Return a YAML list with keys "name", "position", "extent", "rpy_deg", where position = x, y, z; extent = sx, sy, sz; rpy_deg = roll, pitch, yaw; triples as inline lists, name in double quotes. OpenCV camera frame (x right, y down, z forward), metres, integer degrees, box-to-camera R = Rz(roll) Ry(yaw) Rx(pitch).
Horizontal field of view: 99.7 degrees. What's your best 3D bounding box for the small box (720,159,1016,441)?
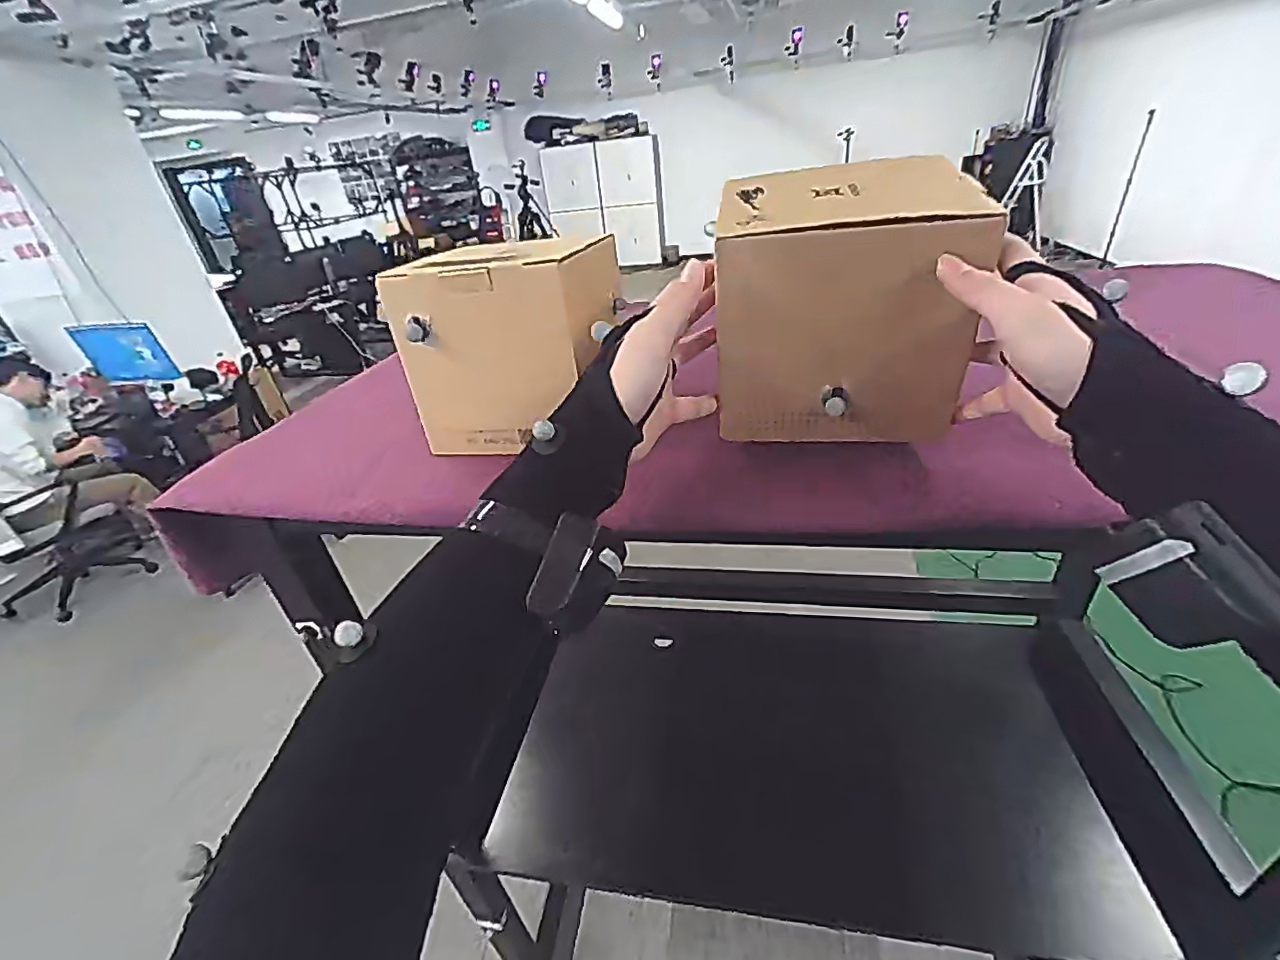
- name: "small box"
  position: [0.160, -0.143, 0.442]
  extent: [0.179, 0.176, 0.168]
  rpy_deg: [1, 39, 12]
